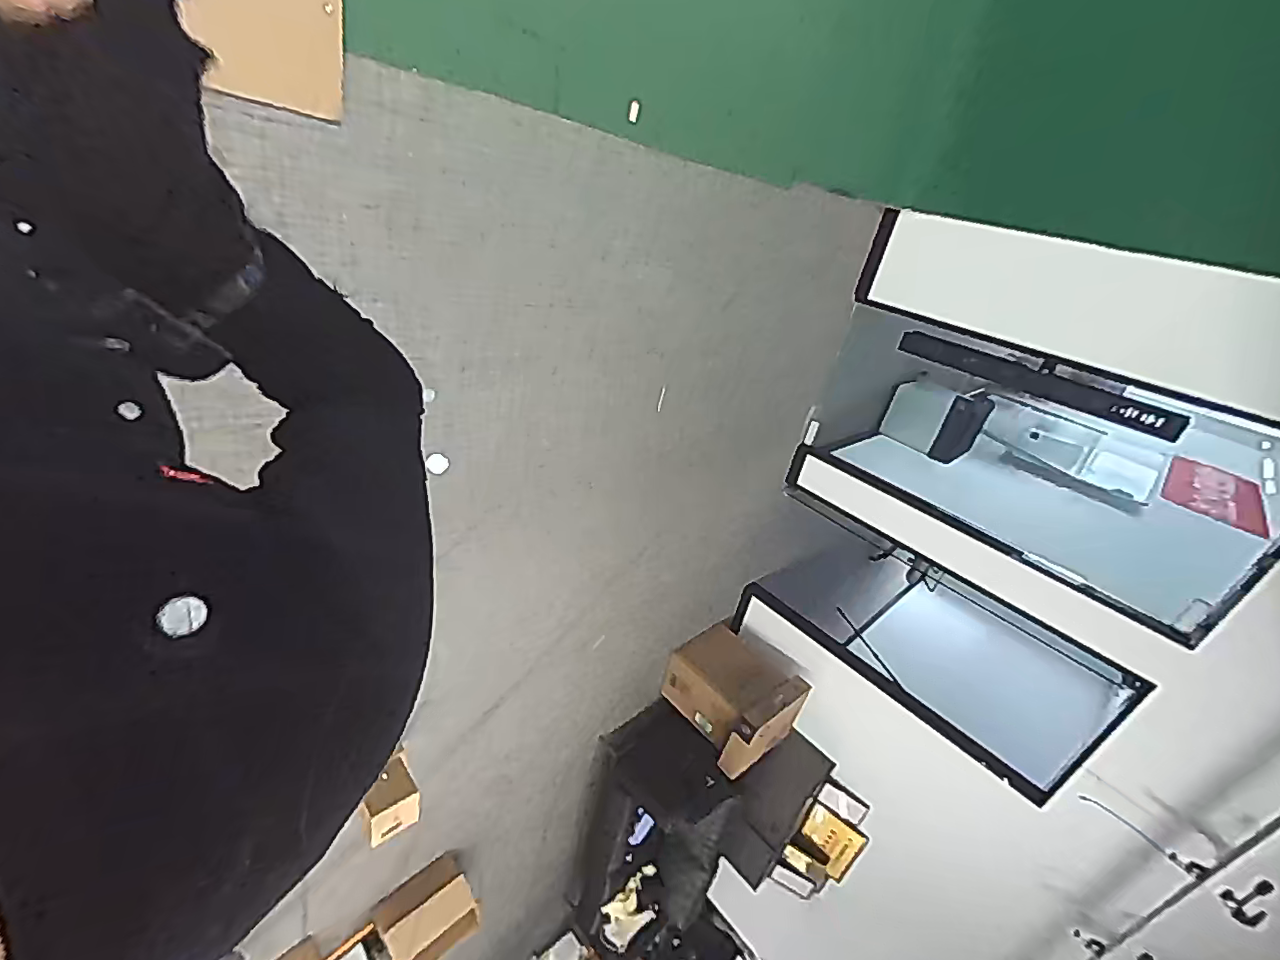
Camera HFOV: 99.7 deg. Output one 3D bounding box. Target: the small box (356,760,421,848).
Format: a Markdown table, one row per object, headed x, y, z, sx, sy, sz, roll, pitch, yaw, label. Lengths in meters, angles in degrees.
| x | y | z | sx | sy | sz | roll | pitch | yaw | label |
| --- | --- | --- | --- | --- | --- | --- | --- | --- | --- |
| -0.903 | 1.153 | 1.936 | 0.168 | 0.176 | 0.179 | -14 | 127 | -44 | small box |

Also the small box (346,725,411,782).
| x | y | z | sx | sy | sz | roll | pitch | yaw | label |
| --- | --- | --- | --- | --- | --- | --- | --- | --- | --- |
| -0.991 | 1.065 | 2.049 | 0.168 | 0.176 | 0.179 | -22 | 133 | -39 | small box |
